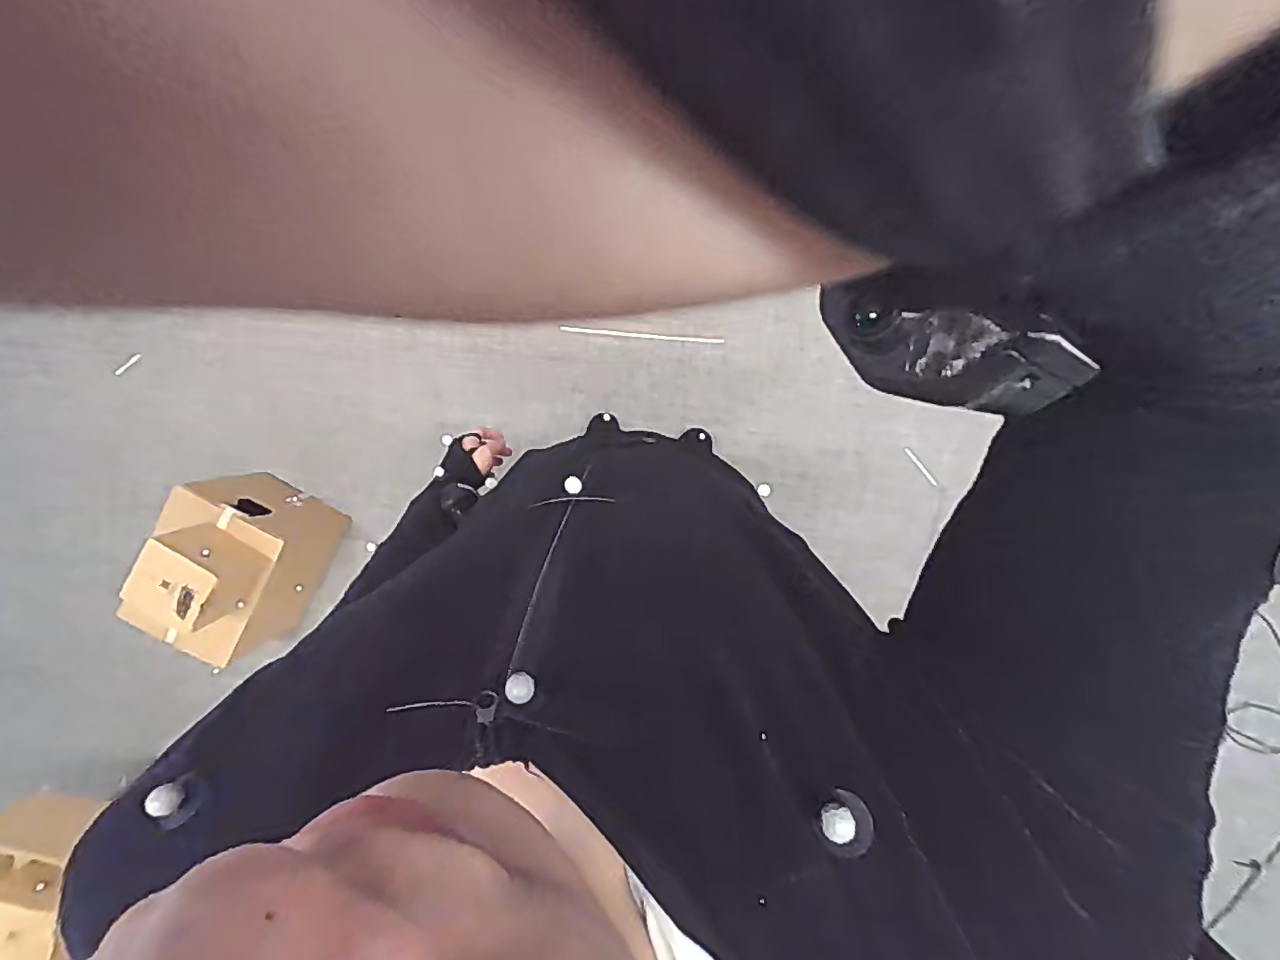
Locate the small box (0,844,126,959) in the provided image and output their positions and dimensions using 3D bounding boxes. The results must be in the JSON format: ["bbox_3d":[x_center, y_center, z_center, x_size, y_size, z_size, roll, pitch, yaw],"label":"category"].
[{"bbox_3d":[-1.395,1.011,1.285,0.179,0.176,0.168,13,97,-2],"label":"small box"}]

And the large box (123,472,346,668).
[{"bbox_3d":[-1.125,0.234,1.539,0.320,0.320,0.408,29,98,-2],"label":"large box"}]

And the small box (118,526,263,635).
[{"bbox_3d":[-1.058,0.230,1.289,0.179,0.176,0.168,32,96,-4],"label":"small box"}]
